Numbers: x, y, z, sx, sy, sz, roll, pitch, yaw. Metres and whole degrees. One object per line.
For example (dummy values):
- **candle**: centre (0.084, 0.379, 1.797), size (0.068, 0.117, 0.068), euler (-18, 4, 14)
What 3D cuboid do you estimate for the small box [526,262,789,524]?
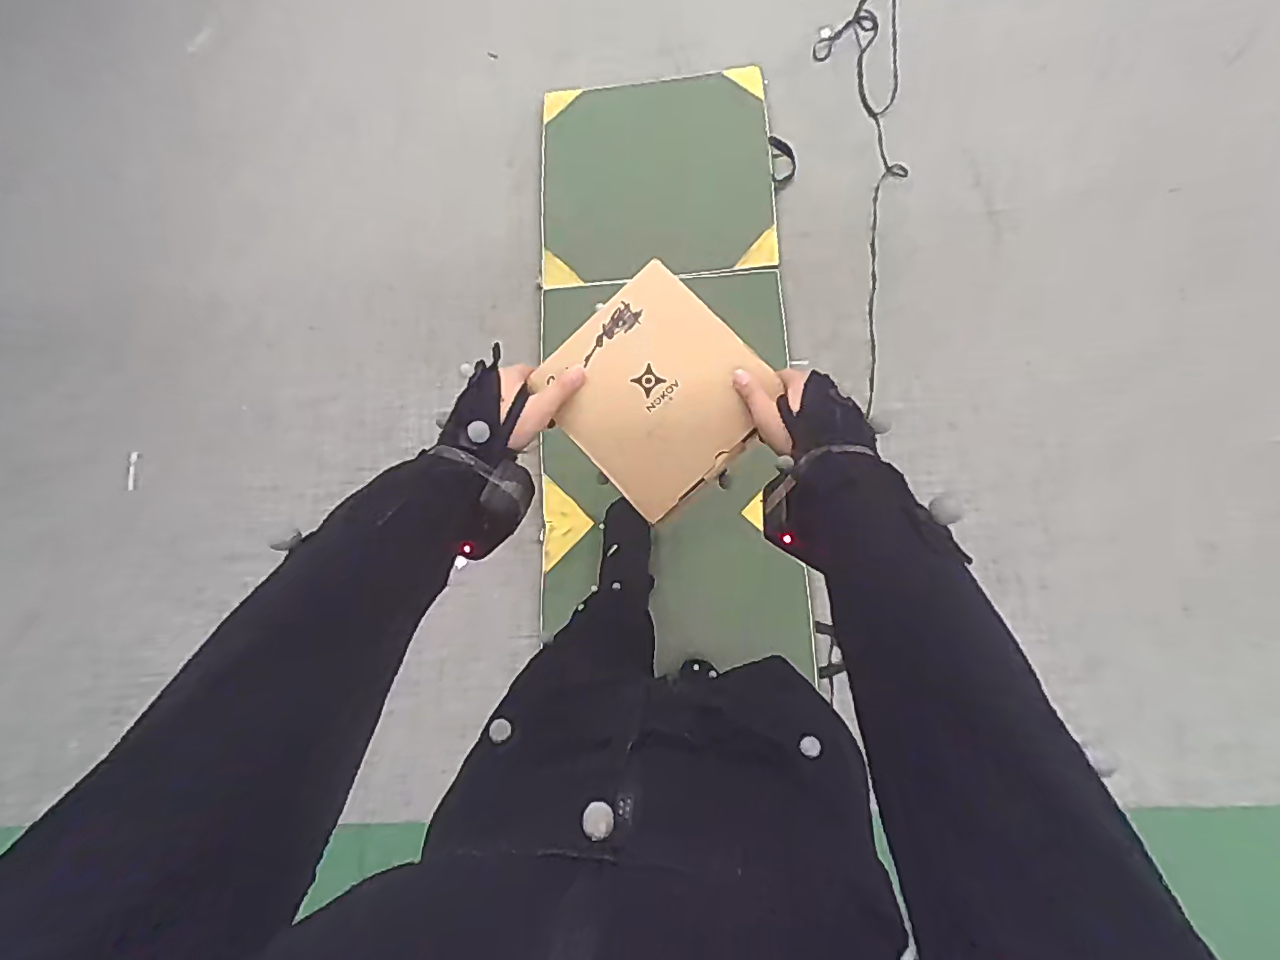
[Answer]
- **small box**: centre (0.021, -0.073, 0.551), size (0.168, 0.176, 0.179), euler (-43, 82, 0)
